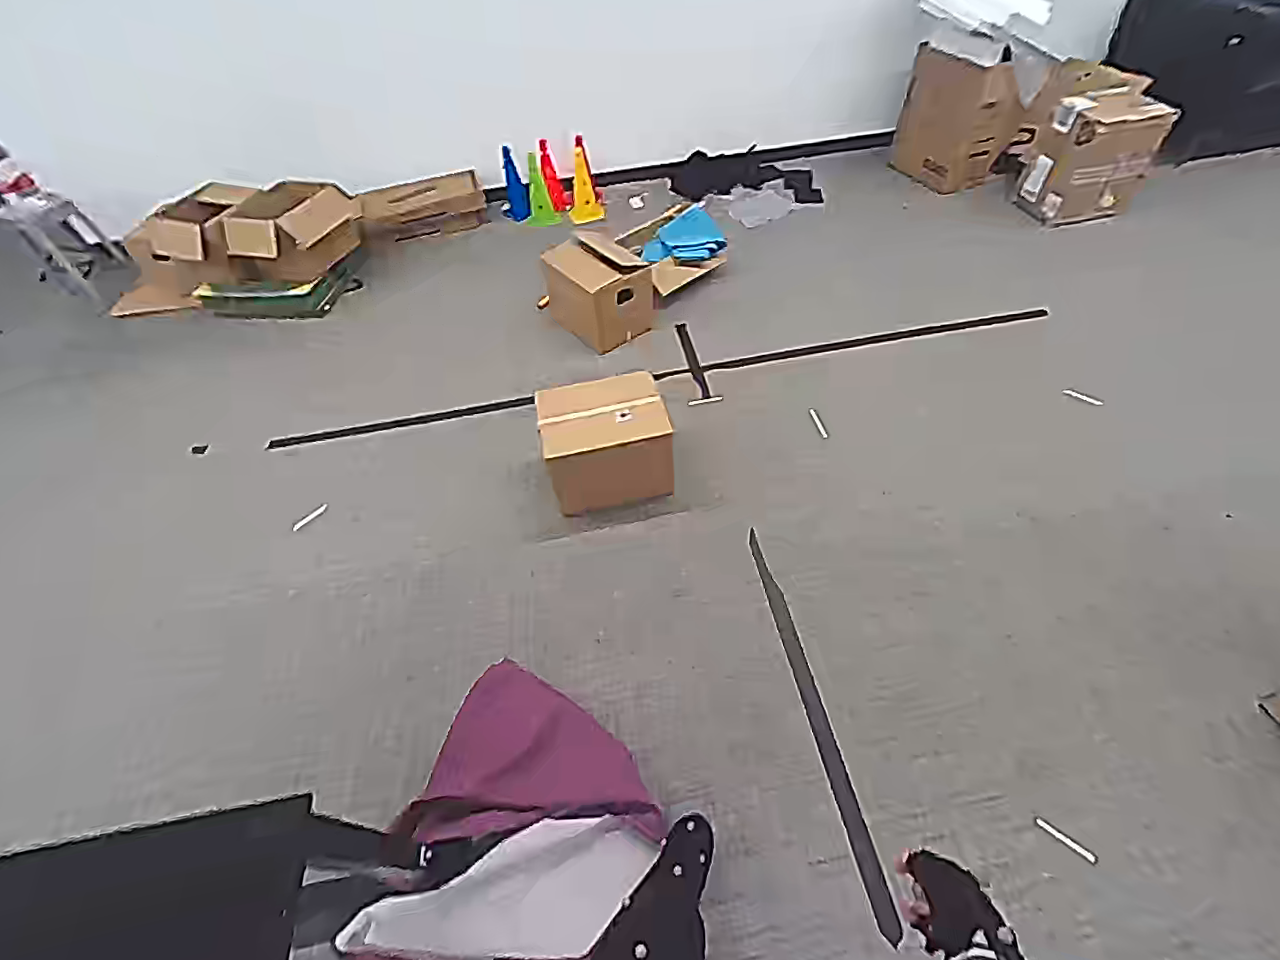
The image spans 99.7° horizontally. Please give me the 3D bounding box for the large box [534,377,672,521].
[{"bbox_3d":[-0.122,-0.104,1.854,0.408,0.320,0.320,-12,51,-6],"label":"large box"}]
